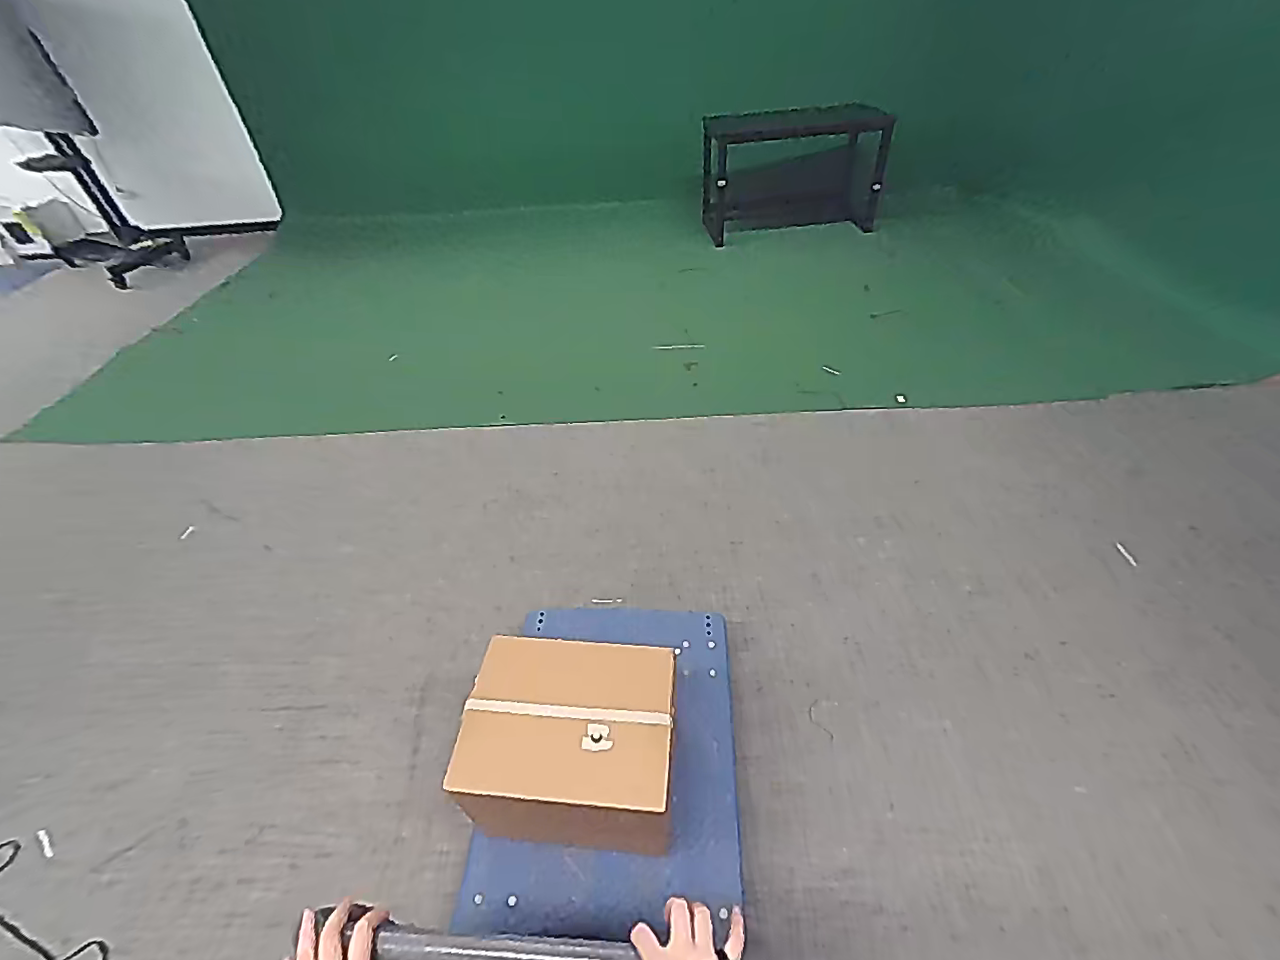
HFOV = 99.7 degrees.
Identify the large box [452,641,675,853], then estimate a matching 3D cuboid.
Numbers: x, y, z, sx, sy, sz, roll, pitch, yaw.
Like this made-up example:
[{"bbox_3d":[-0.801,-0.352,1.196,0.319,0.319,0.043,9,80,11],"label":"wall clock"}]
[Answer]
[{"bbox_3d":[-0.133,0.578,1.176,0.408,0.320,0.320,3,43,5],"label":"large box"}]
